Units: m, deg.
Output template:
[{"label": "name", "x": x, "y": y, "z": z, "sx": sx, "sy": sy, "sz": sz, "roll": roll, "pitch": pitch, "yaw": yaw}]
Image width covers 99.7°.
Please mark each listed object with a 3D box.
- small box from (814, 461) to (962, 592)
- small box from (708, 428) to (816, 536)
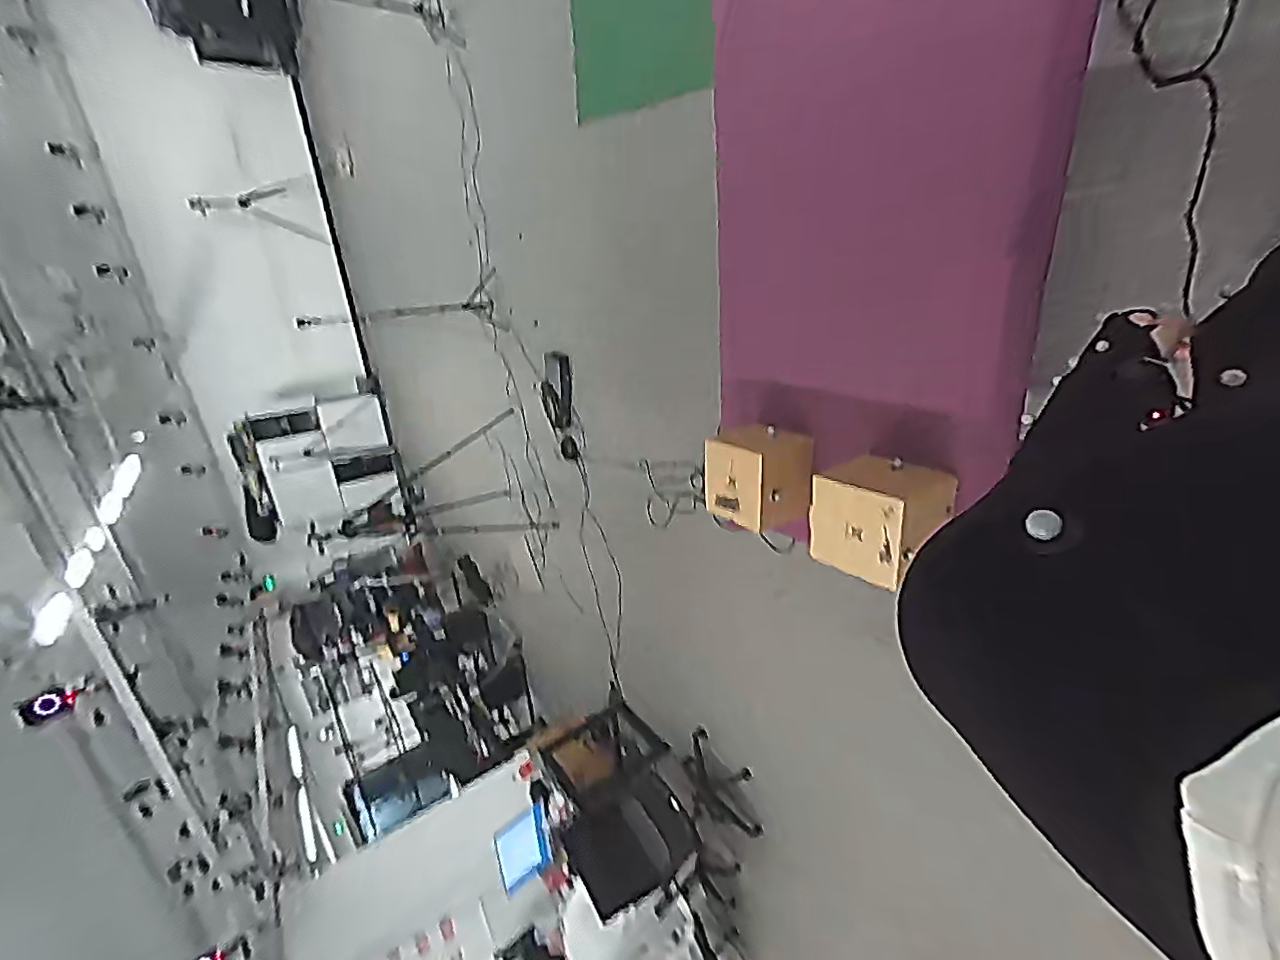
[{"label": "small box", "x": 0.441, "y": 0.072, "z": 0.975, "sx": 0.179, "sy": 0.176, "sz": 0.168, "roll": 22, "pitch": 124, "yaw": 52}, {"label": "small box", "x": 0.269, "y": -0.003, "z": 1.197, "sx": 0.168, "sy": 0.176, "sz": 0.179, "roll": 23, "pitch": 123, "yaw": 49}]
